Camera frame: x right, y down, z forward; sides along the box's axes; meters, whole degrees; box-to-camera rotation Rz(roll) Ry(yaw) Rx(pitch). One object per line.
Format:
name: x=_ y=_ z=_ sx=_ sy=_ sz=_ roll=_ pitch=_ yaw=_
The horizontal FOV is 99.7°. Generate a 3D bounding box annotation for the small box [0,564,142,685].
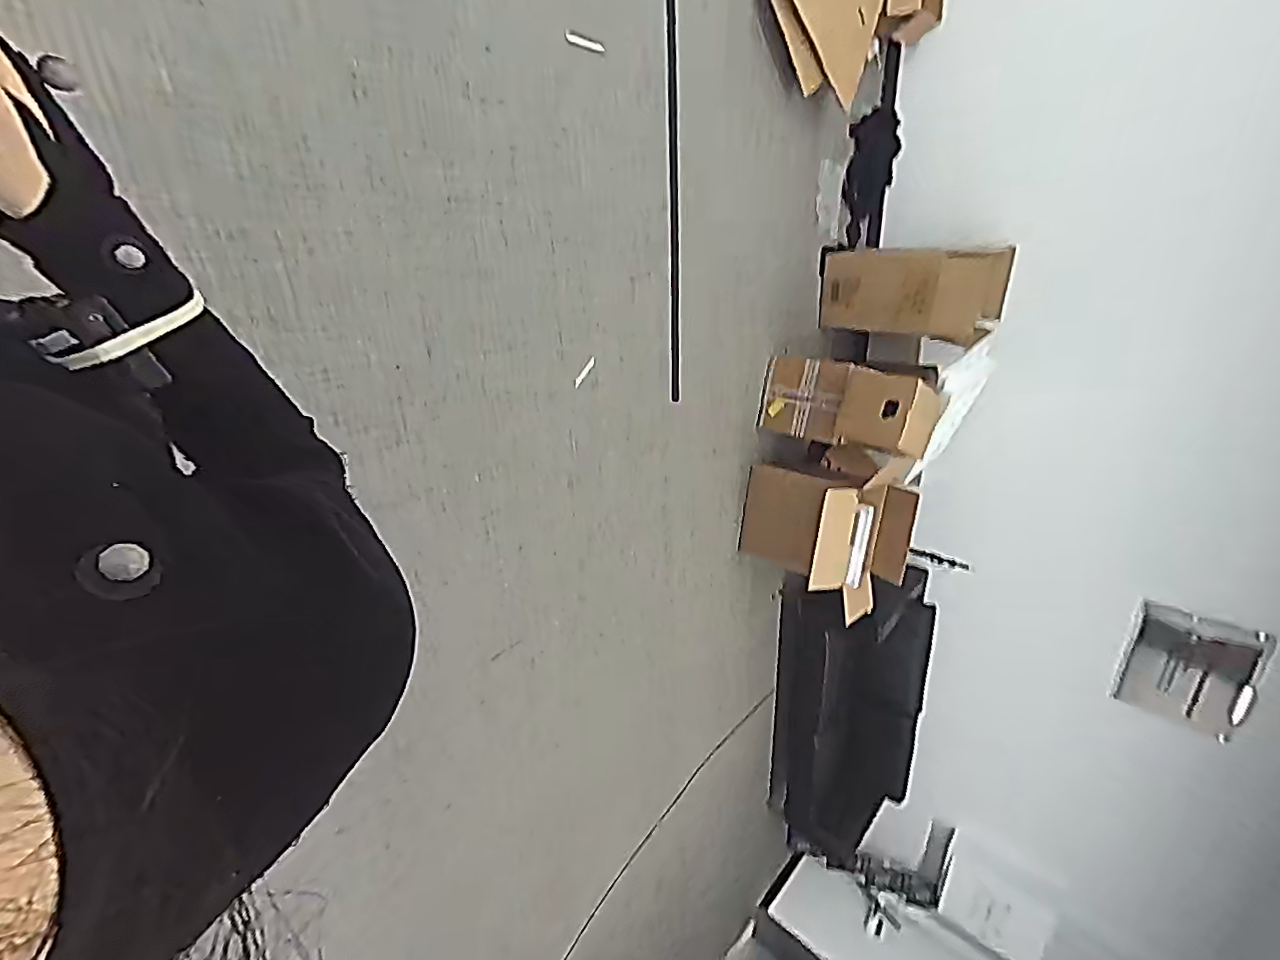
small box: x=-0.913 y=0.251 z=0.827 sx=0.179 sy=0.176 sz=0.168 roll=-24 pitch=119 yaw=-41
